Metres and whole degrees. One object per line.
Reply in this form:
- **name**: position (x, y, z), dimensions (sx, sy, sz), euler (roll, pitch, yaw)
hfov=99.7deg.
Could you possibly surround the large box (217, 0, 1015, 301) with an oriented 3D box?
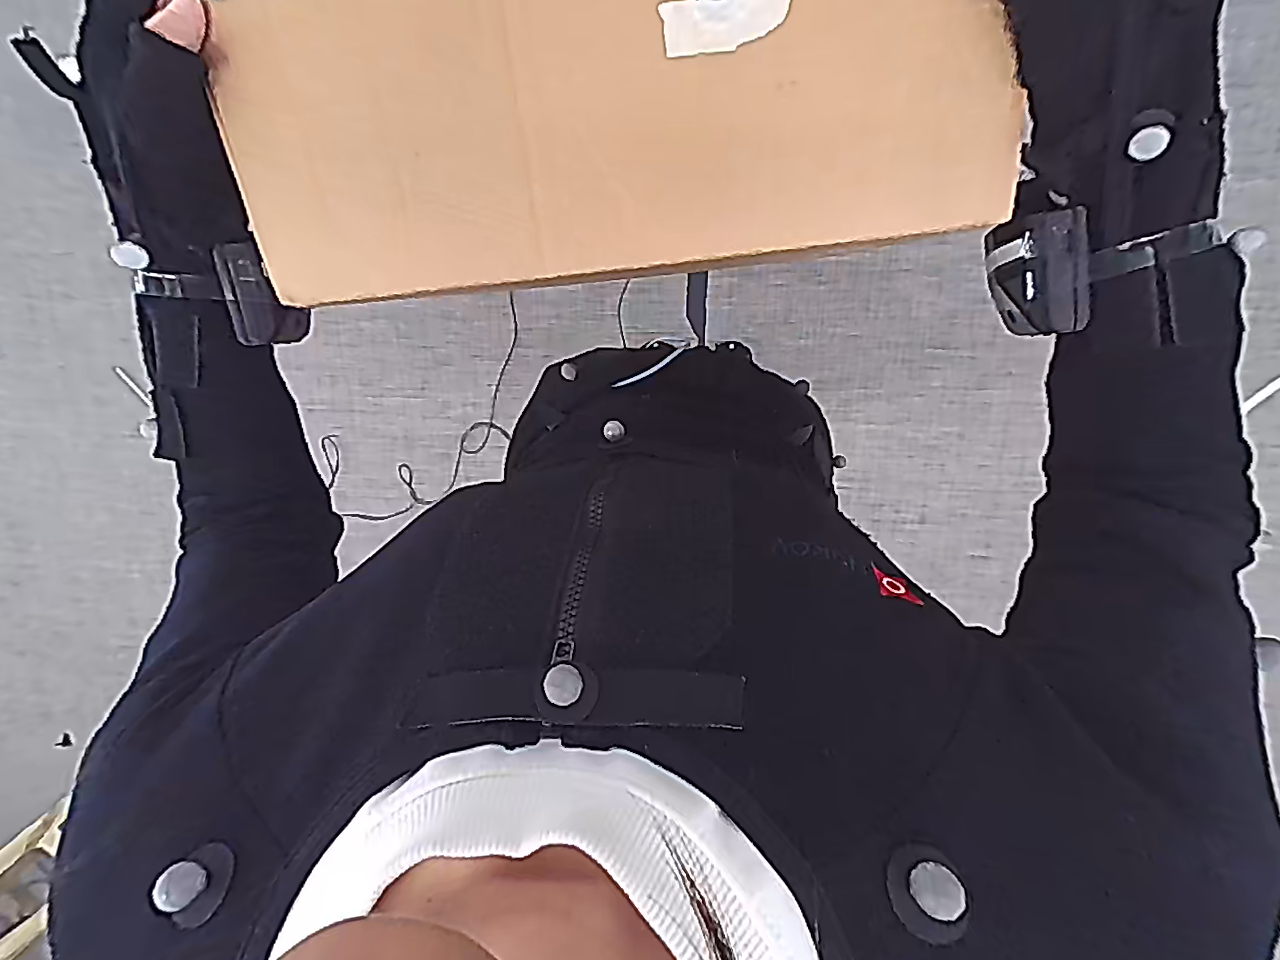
- **large box**: position (-0.014, -0.321, 0.396), dimensions (0.408, 0.320, 0.320), euler (-4, 111, 7)
